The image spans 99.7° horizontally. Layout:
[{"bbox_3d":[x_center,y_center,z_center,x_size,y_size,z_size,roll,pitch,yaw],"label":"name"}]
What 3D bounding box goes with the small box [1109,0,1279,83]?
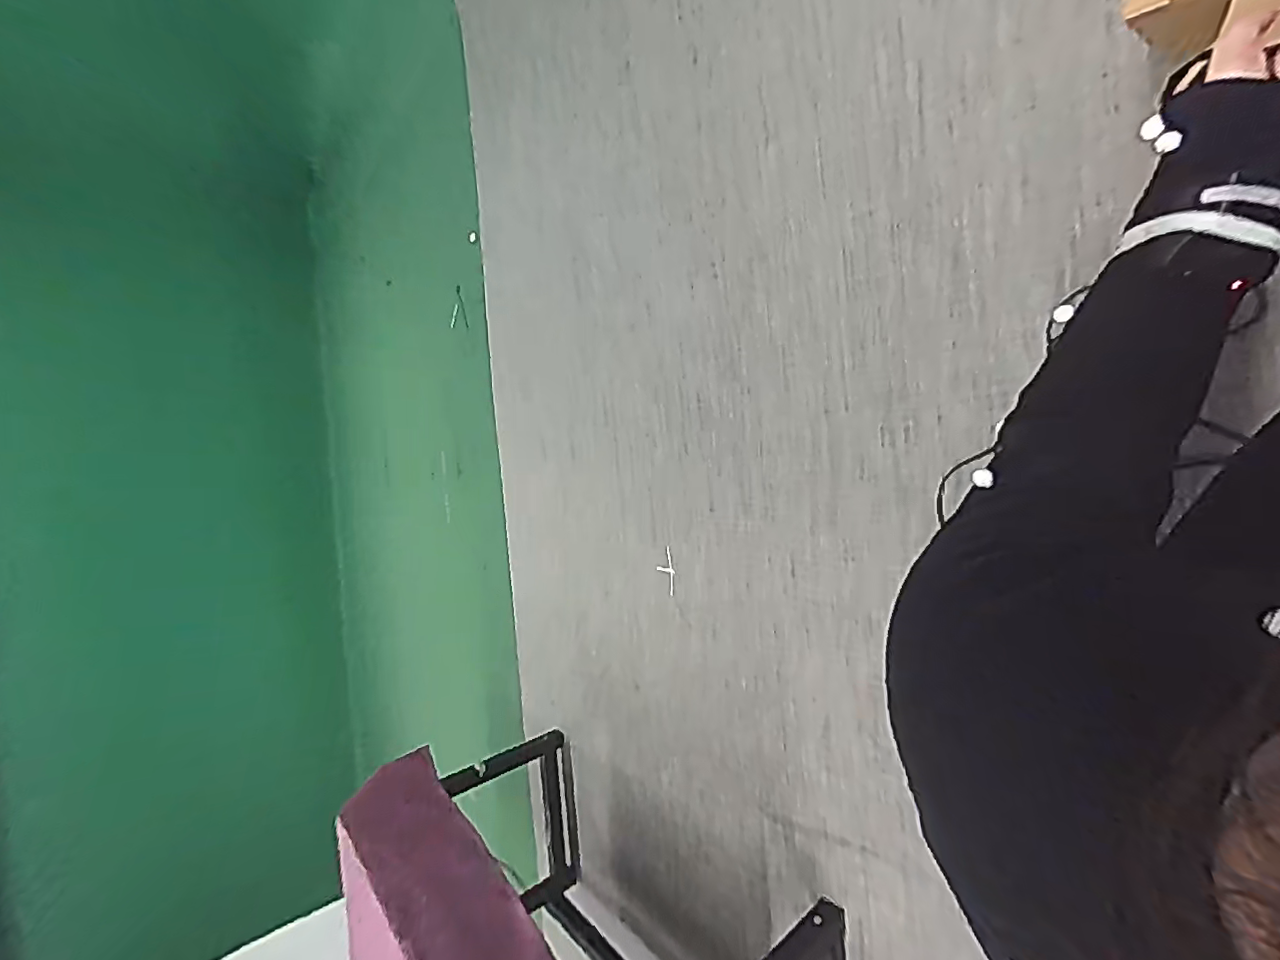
[{"bbox_3d":[0.497,-0.435,0.393,0.168,0.176,0.179,27,118,57],"label":"small box"}]
